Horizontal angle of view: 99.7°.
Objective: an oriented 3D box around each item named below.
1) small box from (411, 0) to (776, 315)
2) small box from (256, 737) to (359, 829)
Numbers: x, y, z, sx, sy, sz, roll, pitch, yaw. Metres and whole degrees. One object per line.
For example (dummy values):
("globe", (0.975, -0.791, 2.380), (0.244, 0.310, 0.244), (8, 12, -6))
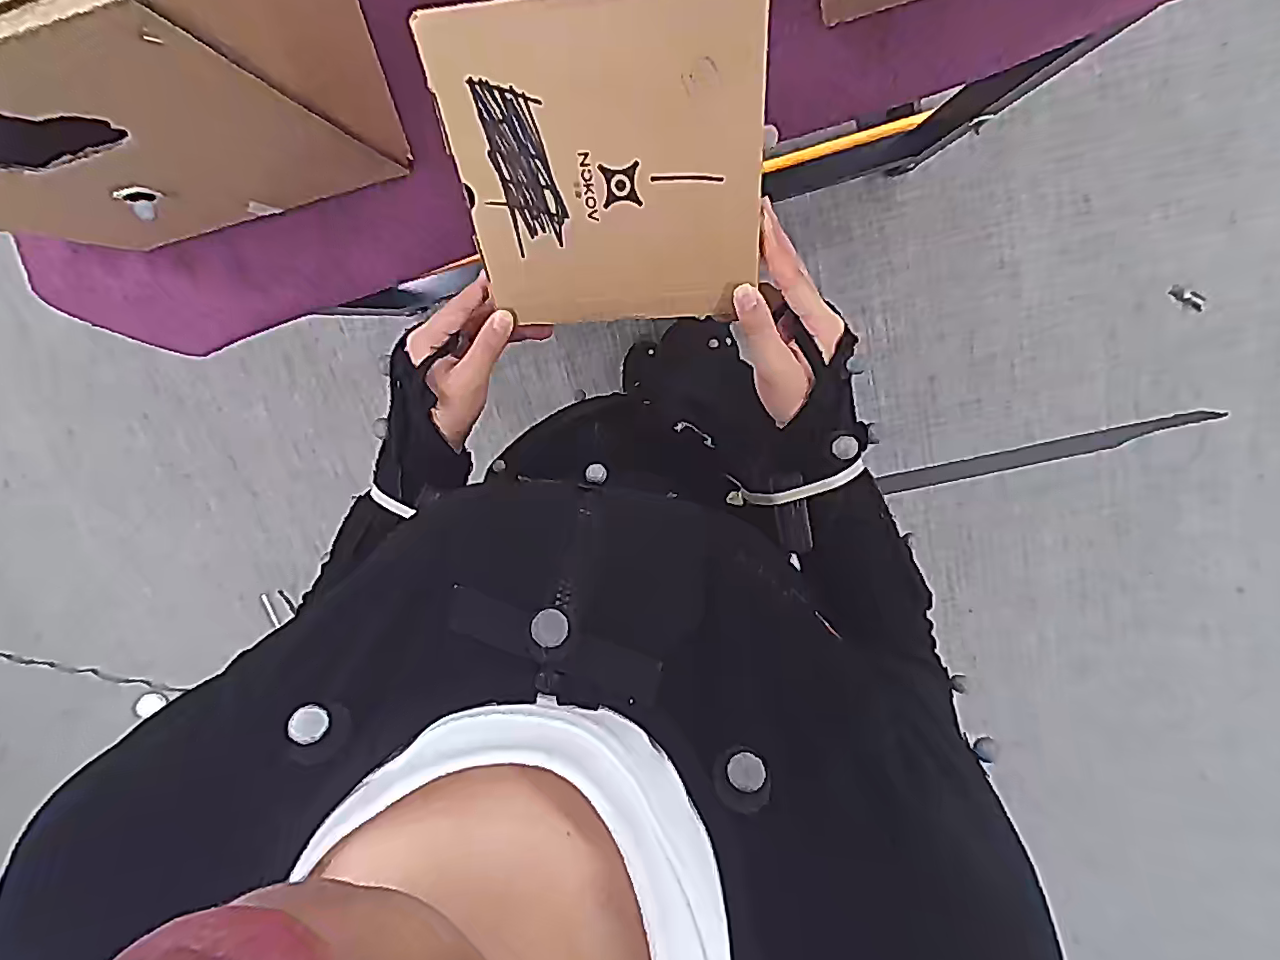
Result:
("small box", (-0.011, -0.224, 0.356), (0.179, 0.176, 0.168), (-1, 132, 7))
("small box", (-0.963, 0.878, 1.583), (0.168, 0.176, 0.179), (-8, 106, 6))
